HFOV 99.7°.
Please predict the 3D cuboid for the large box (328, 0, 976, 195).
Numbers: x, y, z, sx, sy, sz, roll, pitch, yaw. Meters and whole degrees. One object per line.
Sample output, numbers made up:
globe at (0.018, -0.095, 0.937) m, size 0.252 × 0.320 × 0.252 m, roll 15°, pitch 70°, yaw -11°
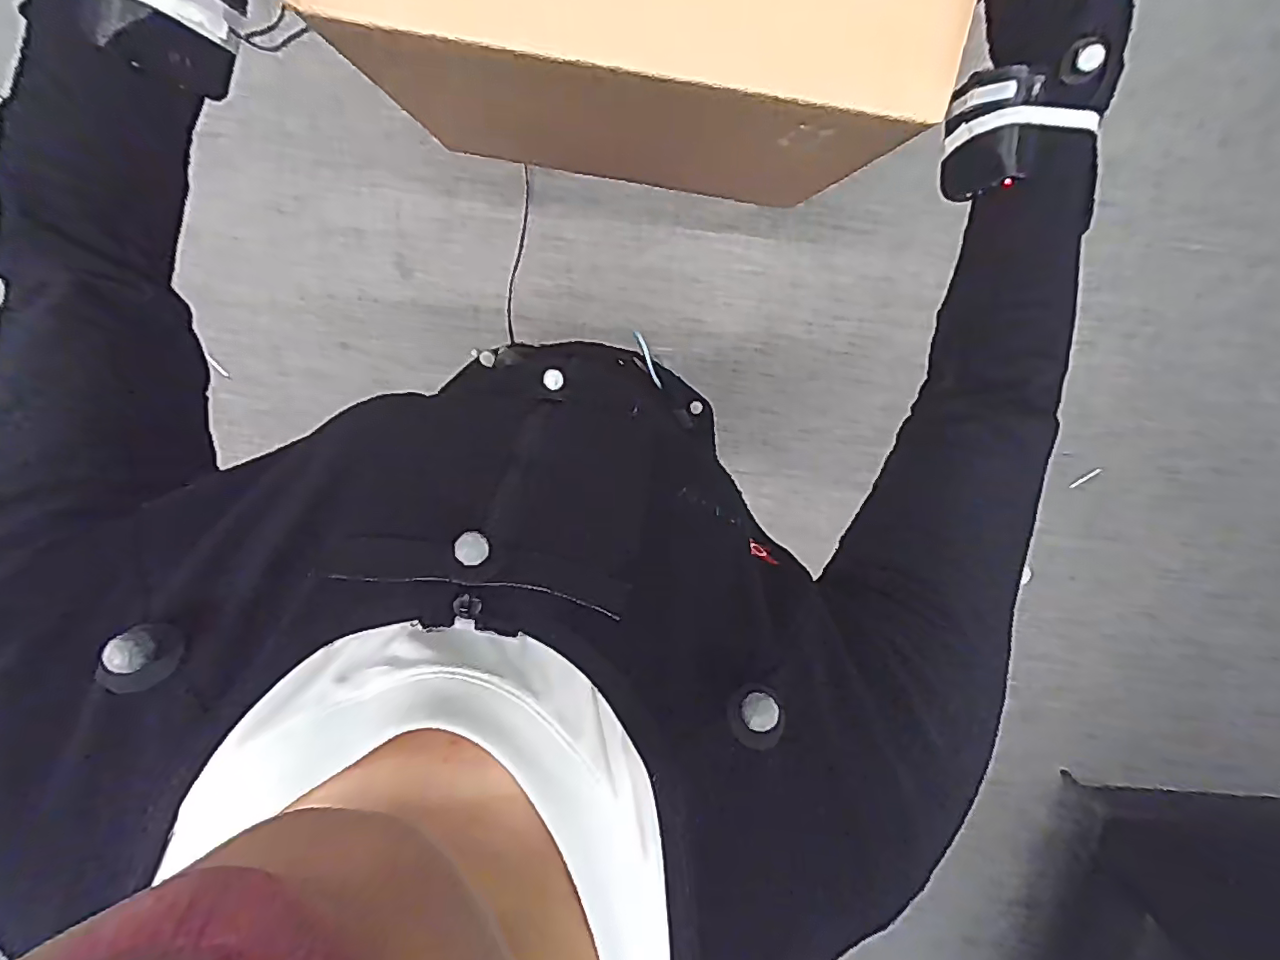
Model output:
large box at (0.015, -0.451, 0.431) m, size 0.408 × 0.320 × 0.320 m, roll 6°, pitch 108°, yaw -6°
